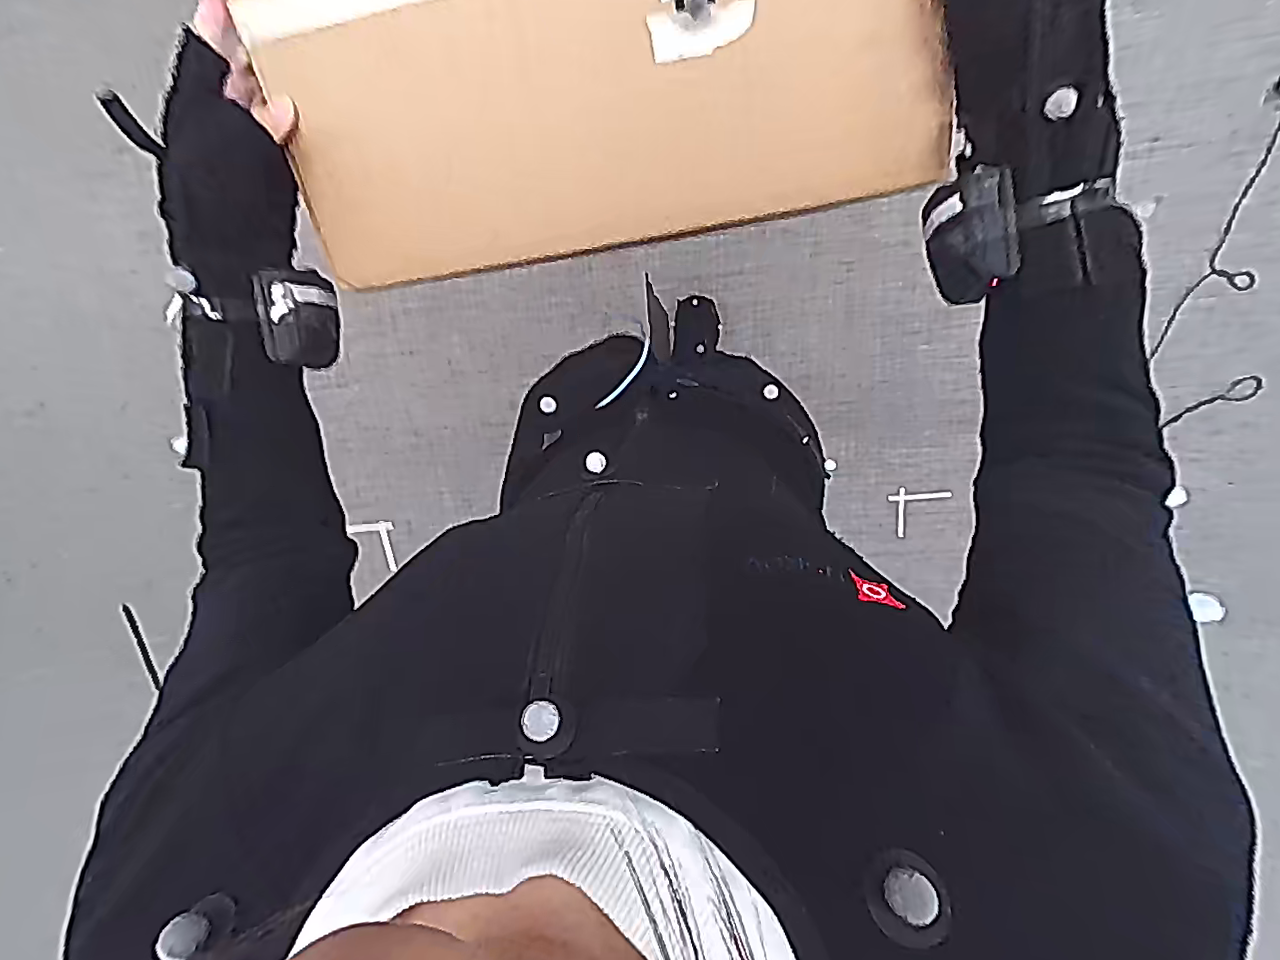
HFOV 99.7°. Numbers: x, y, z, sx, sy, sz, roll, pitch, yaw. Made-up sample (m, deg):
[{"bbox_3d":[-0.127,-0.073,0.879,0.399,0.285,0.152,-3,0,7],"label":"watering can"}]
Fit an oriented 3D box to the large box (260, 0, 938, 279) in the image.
[{"bbox_3d":[-0.028,-0.371,0.442,0.408,0.320,0.320,-8,114,8],"label":"large box"}]
